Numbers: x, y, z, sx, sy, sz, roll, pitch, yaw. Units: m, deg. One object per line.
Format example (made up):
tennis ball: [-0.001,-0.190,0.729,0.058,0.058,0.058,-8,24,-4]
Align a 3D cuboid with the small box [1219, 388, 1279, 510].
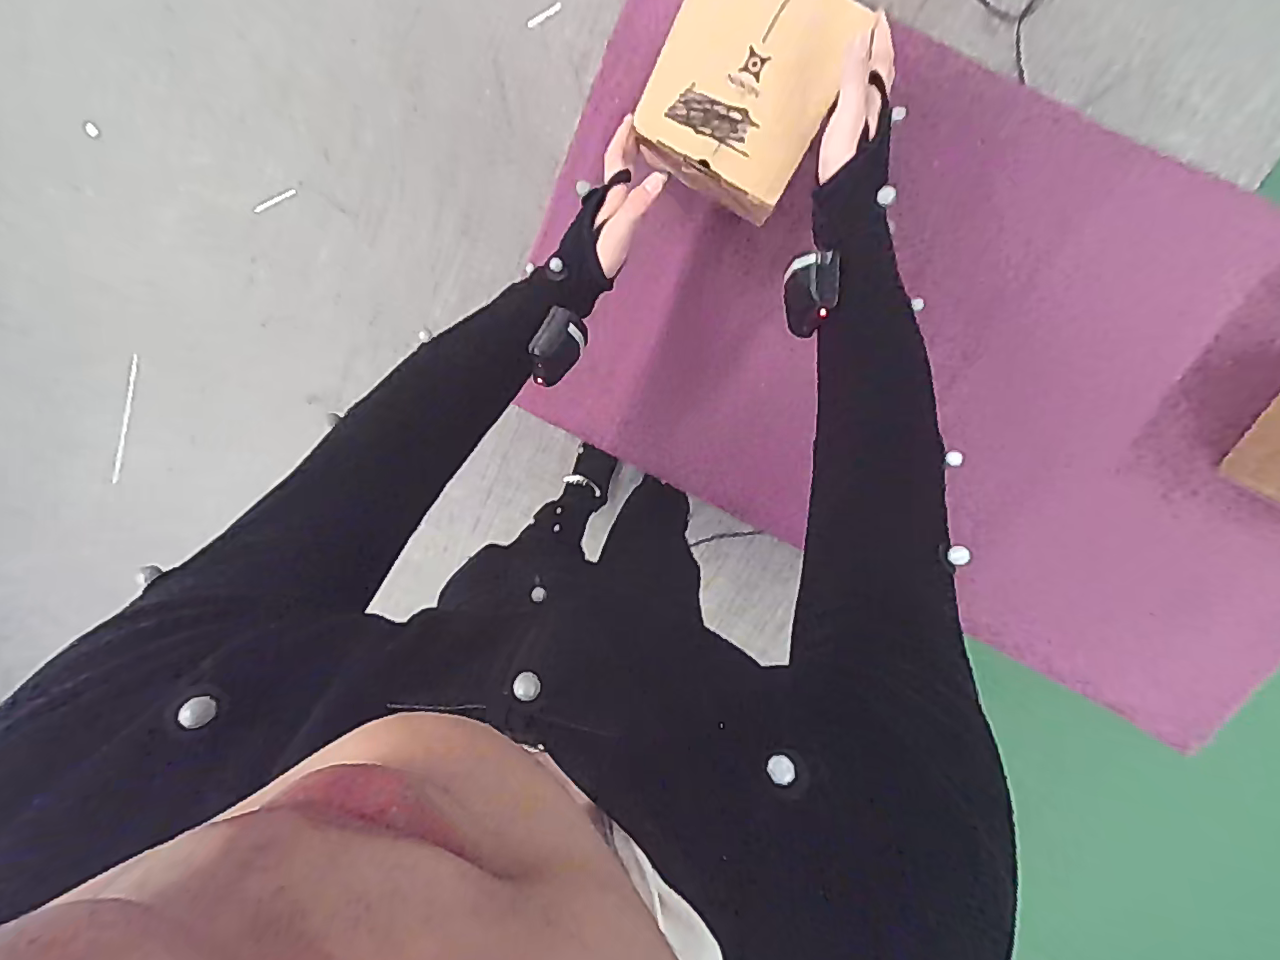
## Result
small box: [0.856,-0.029,0.620,0.168,0.176,0.179,26,106,1]

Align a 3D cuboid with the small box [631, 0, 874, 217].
small box: [0.110,-0.409,0.579,0.168,0.176,0.179,28,110,-4]
